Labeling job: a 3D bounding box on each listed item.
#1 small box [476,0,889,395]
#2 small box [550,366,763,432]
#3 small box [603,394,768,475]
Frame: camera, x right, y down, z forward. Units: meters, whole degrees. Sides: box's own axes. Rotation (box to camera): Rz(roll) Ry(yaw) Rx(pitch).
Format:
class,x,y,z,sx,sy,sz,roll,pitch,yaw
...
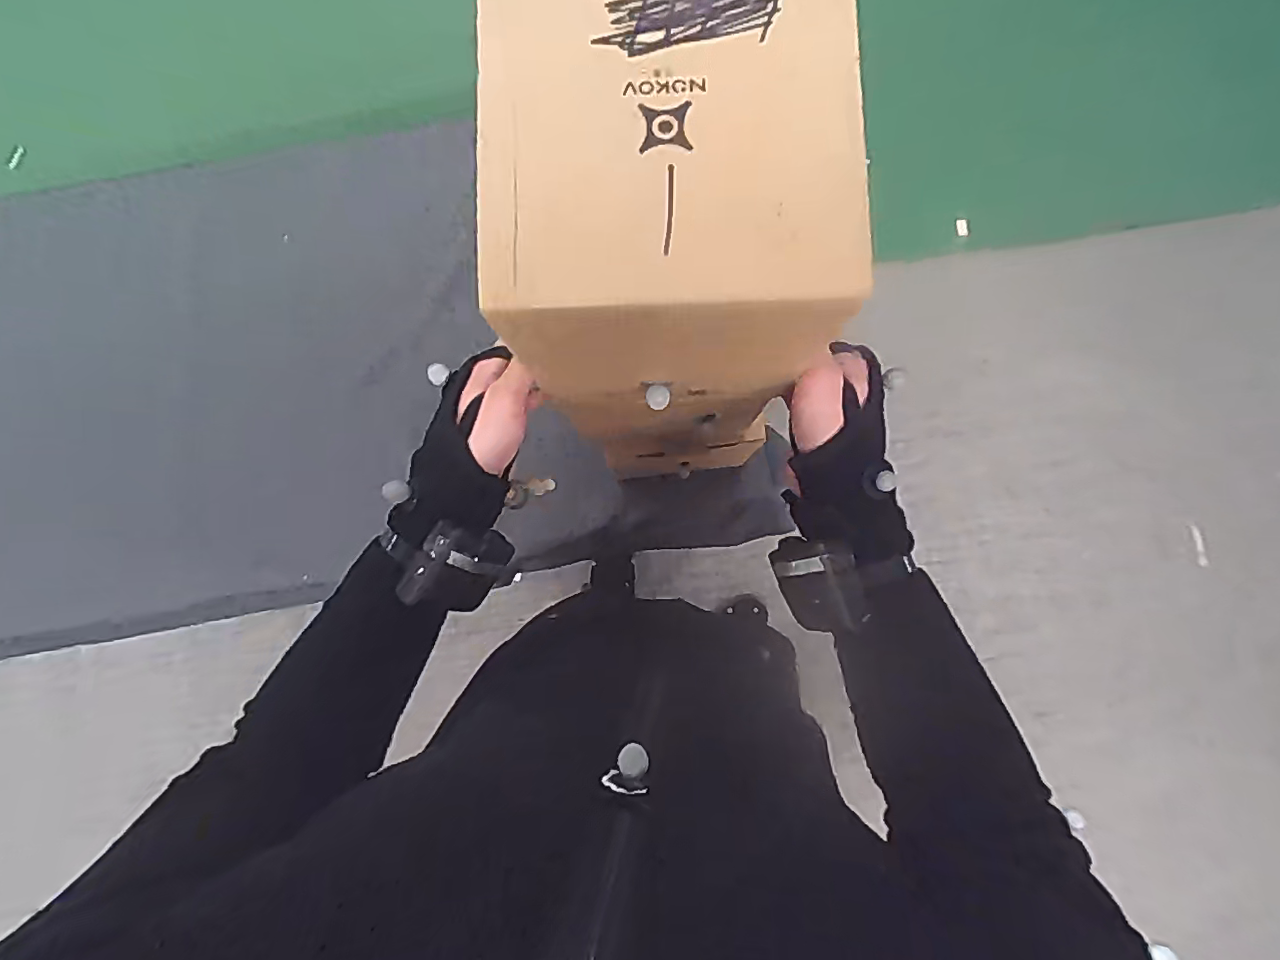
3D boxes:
class,x,y,z,sx,sy,sz,roll,pitch,yaw
small box,0.017,-0.155,0.302,0.168,0.176,0.179,-1,84,2
small box,0.020,-0.140,0.466,0.168,0.176,0.179,-2,81,1
small box,0.043,-0.104,0.625,0.168,0.176,0.179,-7,82,2
